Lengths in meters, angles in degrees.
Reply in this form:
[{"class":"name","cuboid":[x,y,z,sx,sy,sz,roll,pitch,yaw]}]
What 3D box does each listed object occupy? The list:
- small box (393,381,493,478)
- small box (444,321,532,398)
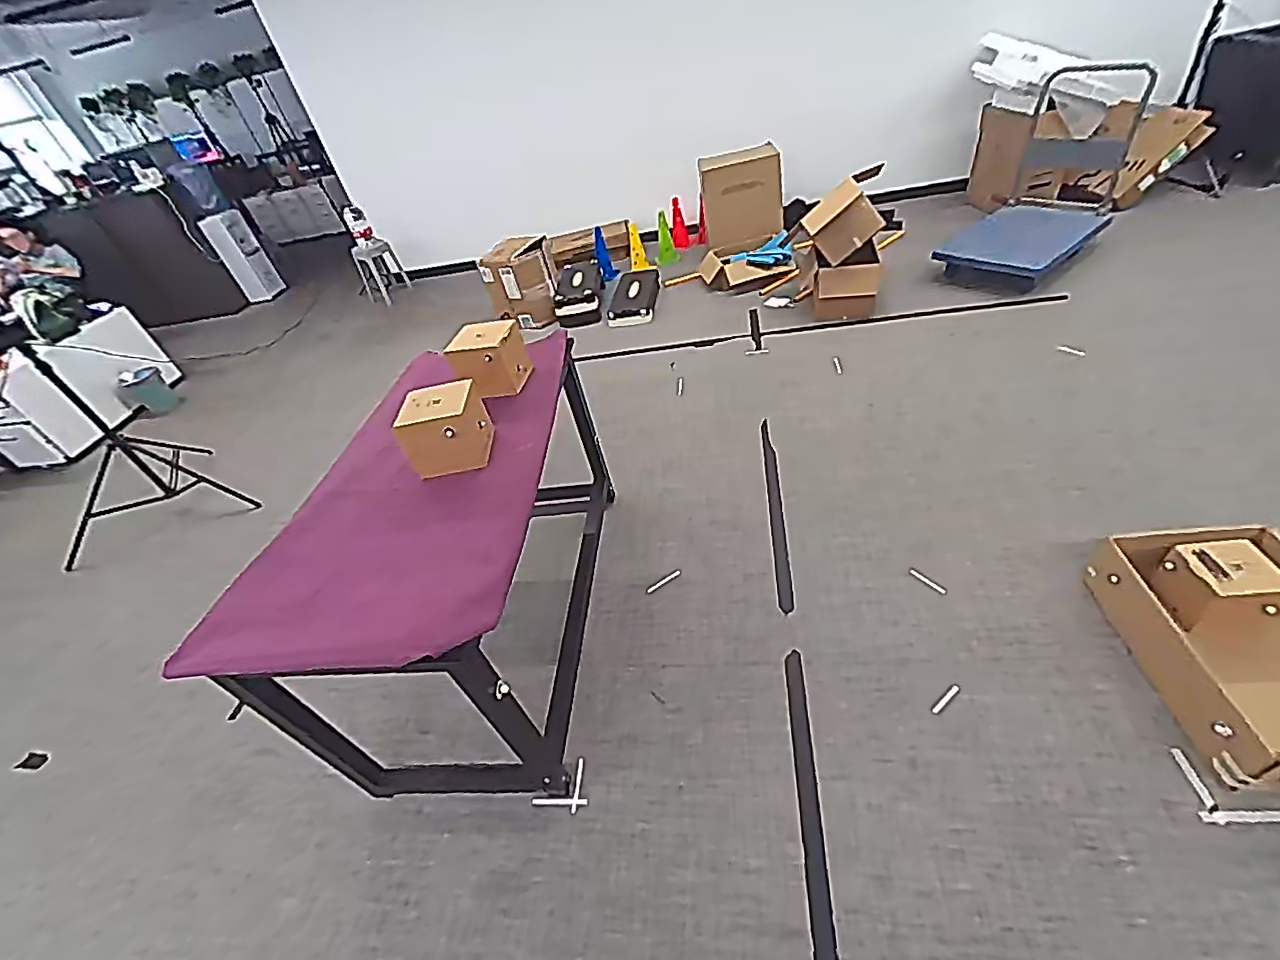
[{"class":"small box","cuboid":[-0.495,-0.129,1.394,0.179,0.176,0.168,-11,40,4]},{"class":"small box","cuboid":[-0.454,-0.362,1.646,0.179,0.176,0.168,-3,42,14]}]
